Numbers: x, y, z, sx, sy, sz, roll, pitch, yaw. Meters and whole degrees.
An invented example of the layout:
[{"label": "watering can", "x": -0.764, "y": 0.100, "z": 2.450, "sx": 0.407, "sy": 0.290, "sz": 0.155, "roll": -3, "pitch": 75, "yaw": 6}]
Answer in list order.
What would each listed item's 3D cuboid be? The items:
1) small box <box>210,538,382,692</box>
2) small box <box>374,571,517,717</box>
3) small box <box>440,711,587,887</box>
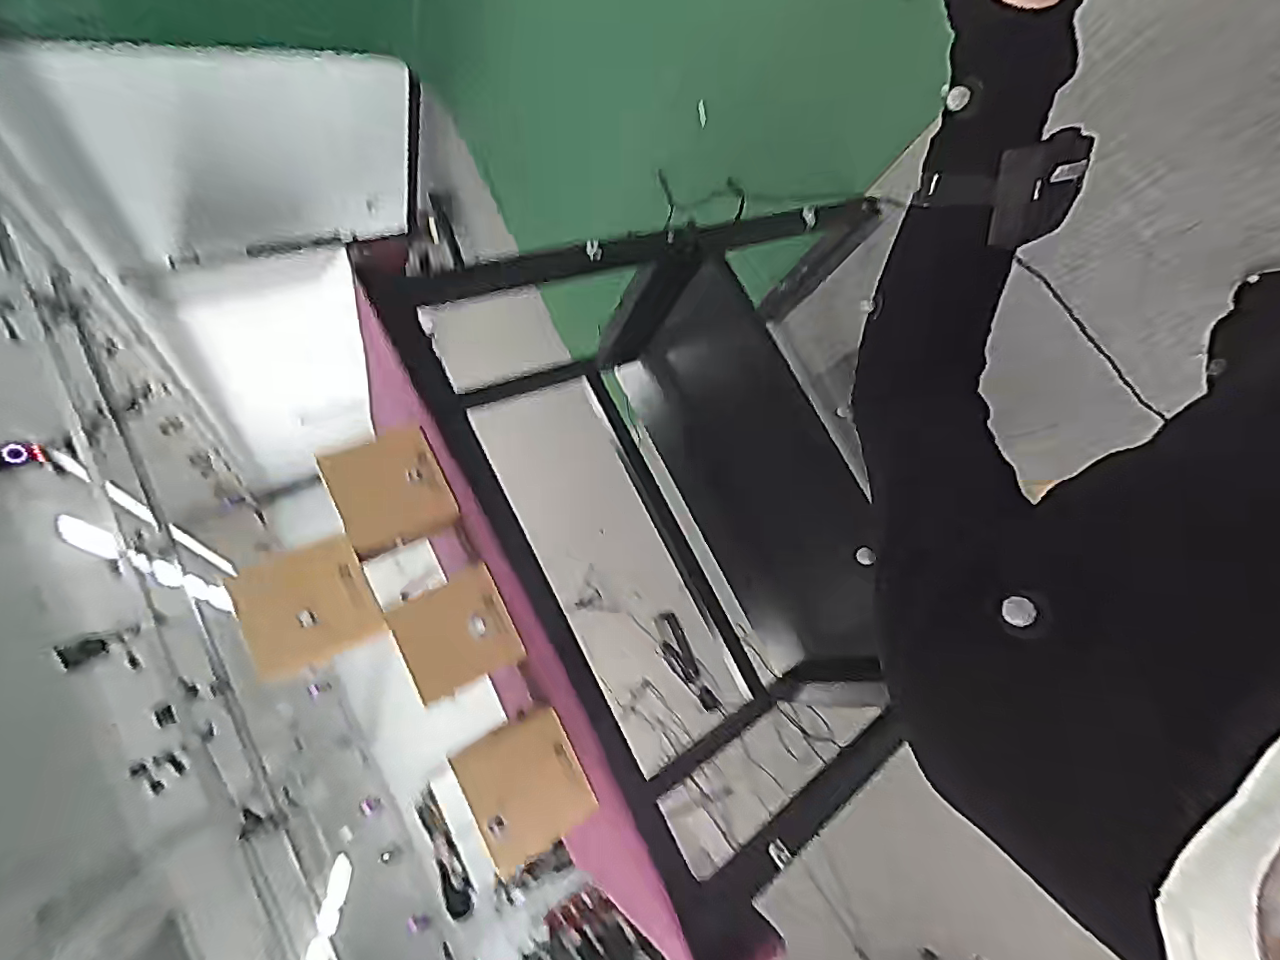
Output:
[{"label": "small box", "x": -0.514, "y": 0.206, "z": 0.839, "sx": 0.168, "sy": 0.176, "sz": 0.179, "roll": 62, "pitch": 152, "yaw": 6}, {"label": "small box", "x": -0.322, "y": 0.270, "z": 0.902, "sx": 0.168, "sy": 0.176, "sz": 0.179, "roll": 62, "pitch": 150, "yaw": 7}, {"label": "small box", "x": -0.204, "y": 0.491, "z": 0.867, "sx": 0.168, "sy": 0.176, "sz": 0.179, "roll": 61, "pitch": 152, "yaw": 8}]
